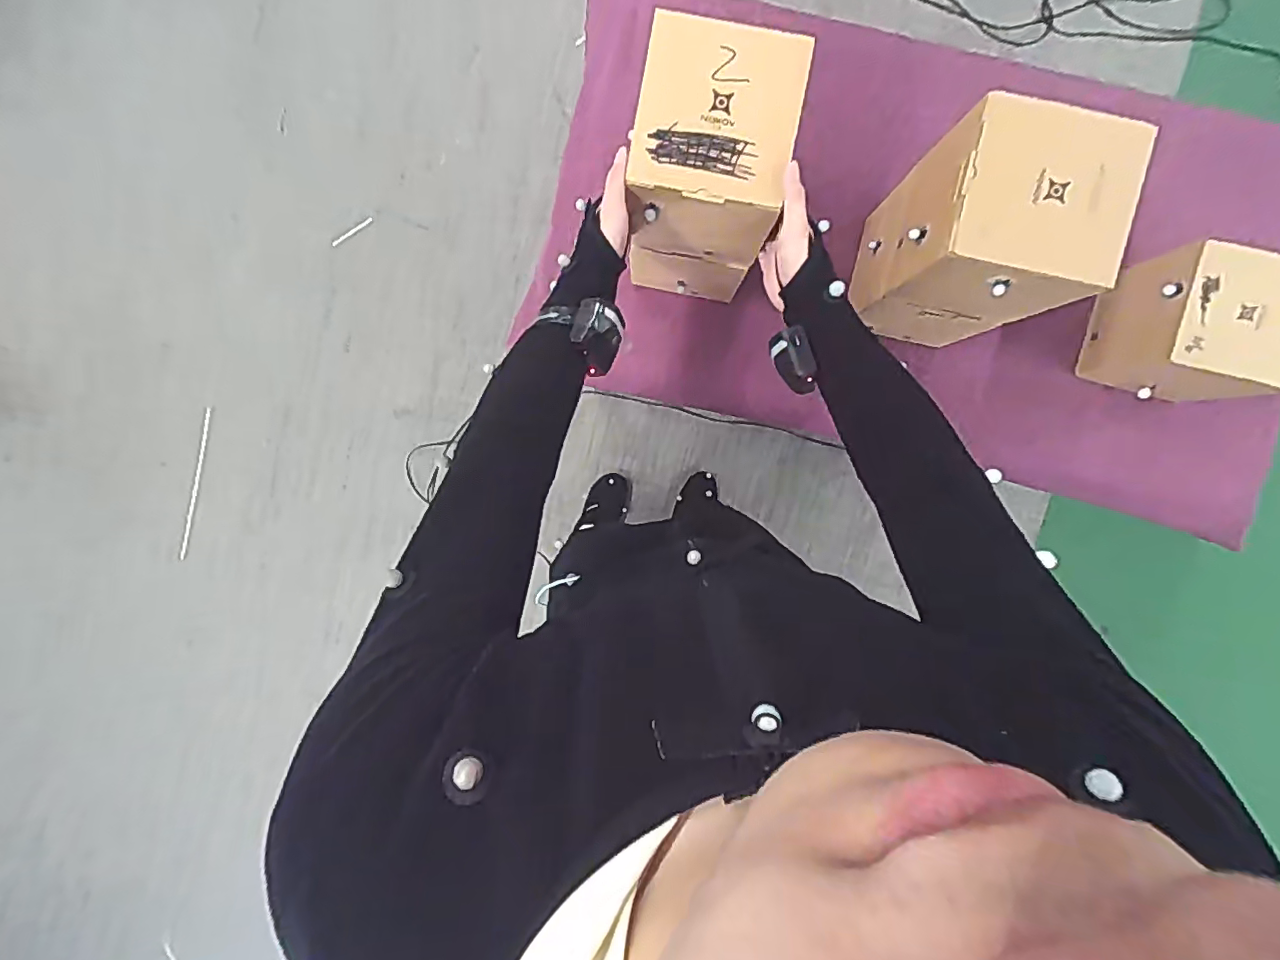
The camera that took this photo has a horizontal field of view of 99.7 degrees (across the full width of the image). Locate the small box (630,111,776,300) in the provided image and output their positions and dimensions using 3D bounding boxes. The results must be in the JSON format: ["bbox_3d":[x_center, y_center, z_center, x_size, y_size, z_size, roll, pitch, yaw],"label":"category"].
[{"bbox_3d":[0.083,-0.384,0.785,0.168,0.176,0.179,11,94,0],"label":"small box"}]

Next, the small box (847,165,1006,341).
[{"bbox_3d":[0.422,-0.313,0.786,0.168,0.176,0.179,12,93,0],"label":"small box"}]

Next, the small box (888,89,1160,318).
[{"bbox_3d":[0.418,-0.299,0.624,0.179,0.176,0.168,13,94,-1],"label":"small box"}]

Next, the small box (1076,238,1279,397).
[{"bbox_3d":[0.802,-0.222,0.786,0.179,0.176,0.168,14,93,0],"label":"small box"}]
